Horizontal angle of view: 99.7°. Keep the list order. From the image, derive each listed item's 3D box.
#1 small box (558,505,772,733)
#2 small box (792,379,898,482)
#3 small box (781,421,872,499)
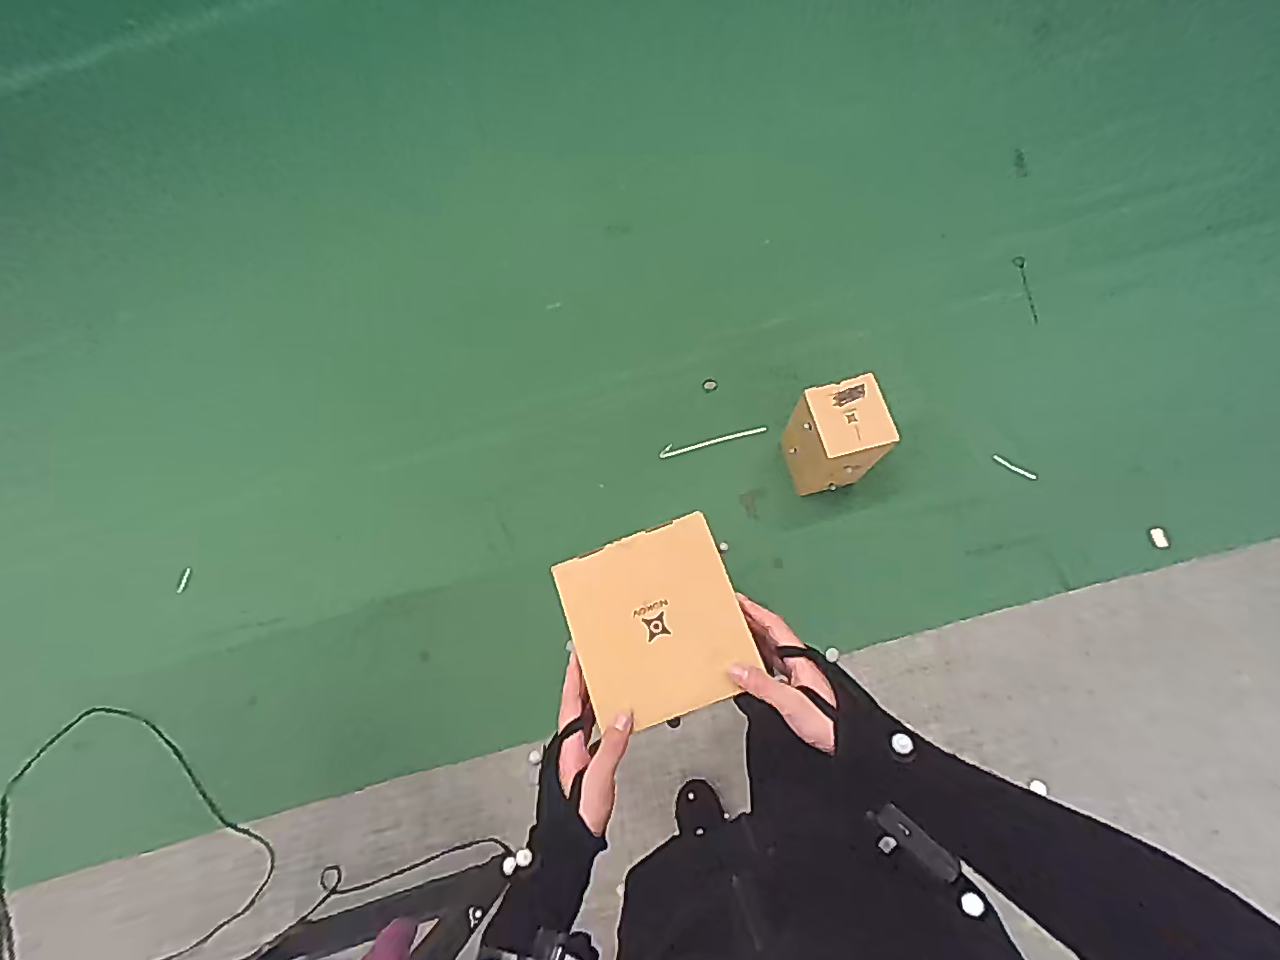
[{"bbox_3d":[0.030,0.151,0.595,0.168,0.176,0.179,-21,71,0],"label":"small box"},{"bbox_3d":[0.481,-0.114,1.299,0.168,0.176,0.179,-14,73,0],"label":"small box"},{"bbox_3d":[0.492,-0.066,1.456,0.168,0.176,0.179,-14,73,0],"label":"small box"}]
